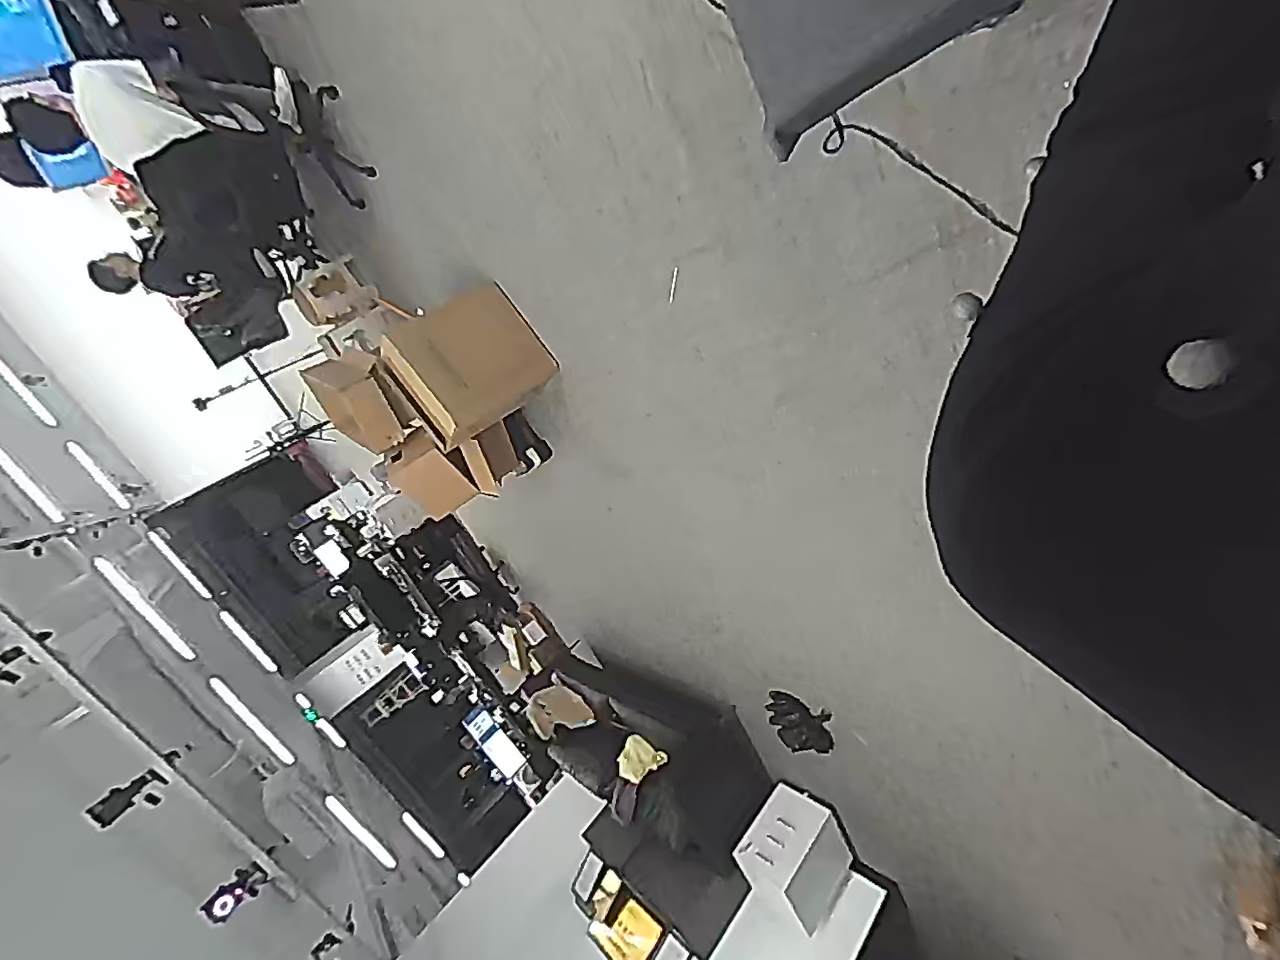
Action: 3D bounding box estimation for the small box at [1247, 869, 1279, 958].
[{"bbox_3d":[1.889,1.261,1.538,0.168,0.176,0.179,57,150,-11],"label":"small box"}]
